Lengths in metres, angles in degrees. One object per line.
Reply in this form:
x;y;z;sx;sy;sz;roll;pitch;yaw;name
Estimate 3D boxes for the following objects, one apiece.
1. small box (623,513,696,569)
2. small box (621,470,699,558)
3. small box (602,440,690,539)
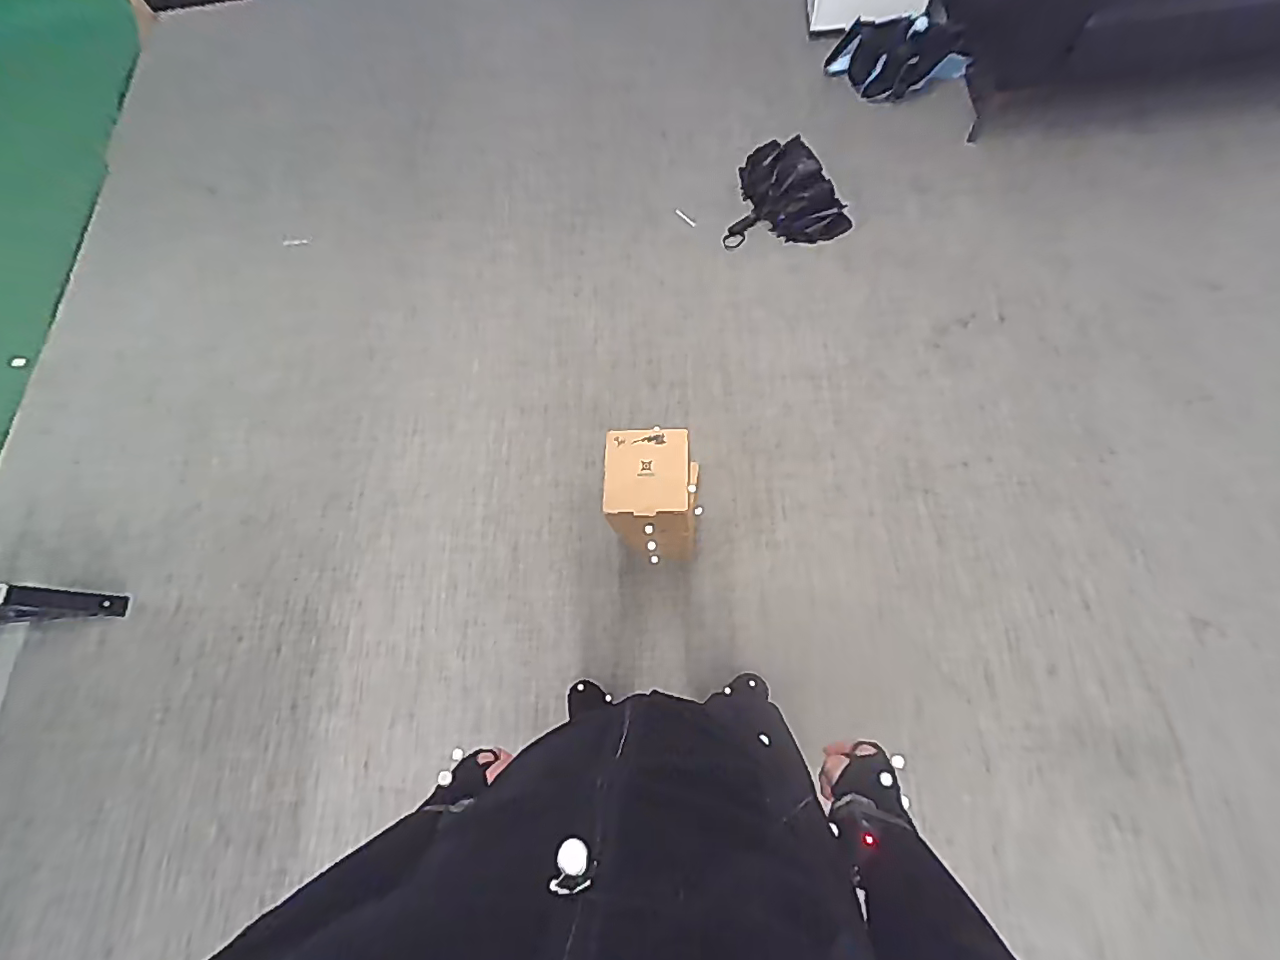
0.058;0.128;1.448;0.168;0.176;0.179;8;73;9;small box
0.046;0.075;1.293;0.168;0.176;0.179;9;73;9;small box
0.020;0.026;1.140;0.168;0.176;0.179;0;71;6;small box
